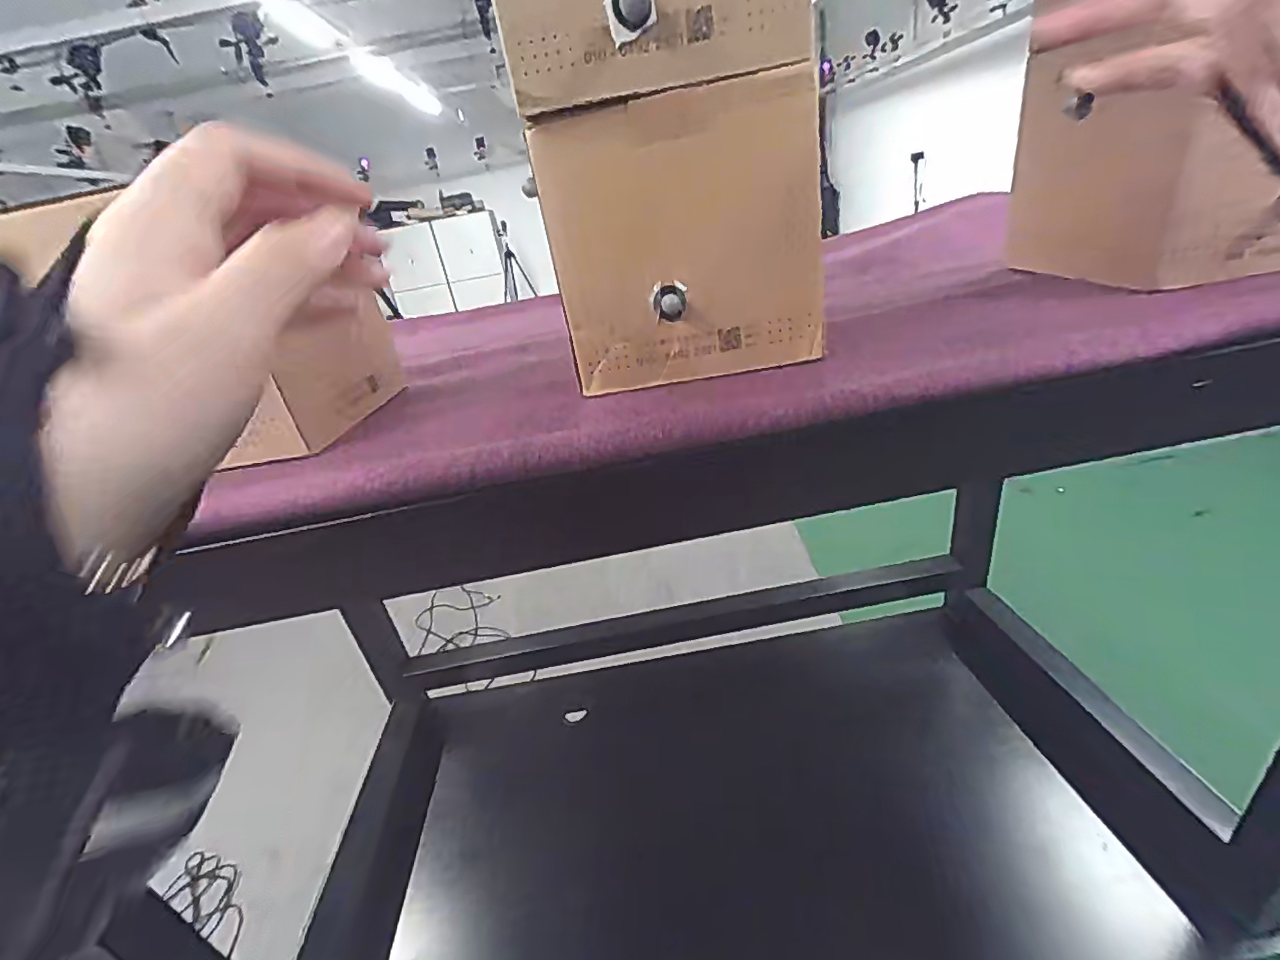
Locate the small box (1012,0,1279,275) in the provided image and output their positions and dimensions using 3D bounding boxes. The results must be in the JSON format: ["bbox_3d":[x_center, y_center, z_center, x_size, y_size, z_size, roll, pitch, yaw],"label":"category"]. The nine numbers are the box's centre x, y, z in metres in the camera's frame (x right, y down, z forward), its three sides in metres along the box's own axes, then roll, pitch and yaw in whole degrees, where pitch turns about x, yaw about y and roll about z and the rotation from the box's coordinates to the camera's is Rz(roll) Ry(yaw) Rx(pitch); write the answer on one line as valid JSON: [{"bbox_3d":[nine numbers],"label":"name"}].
[{"bbox_3d":[0.405,-0.253,0.387,0.168,0.176,0.179,-9,28,6],"label":"small box"}]

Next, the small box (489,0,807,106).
[{"bbox_3d":[-0.009,-0.322,0.328,0.168,0.176,0.179,-12,28,1],"label":"small box"}]

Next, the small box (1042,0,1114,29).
[{"bbox_3d":[0.376,-0.397,0.313,0.168,0.176,0.179,-10,27,6],"label":"small box"}]

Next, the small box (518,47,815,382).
[{"bbox_3d":[0.025,-0.183,0.403,0.168,0.176,0.179,-9,26,5],"label":"small box"}]
